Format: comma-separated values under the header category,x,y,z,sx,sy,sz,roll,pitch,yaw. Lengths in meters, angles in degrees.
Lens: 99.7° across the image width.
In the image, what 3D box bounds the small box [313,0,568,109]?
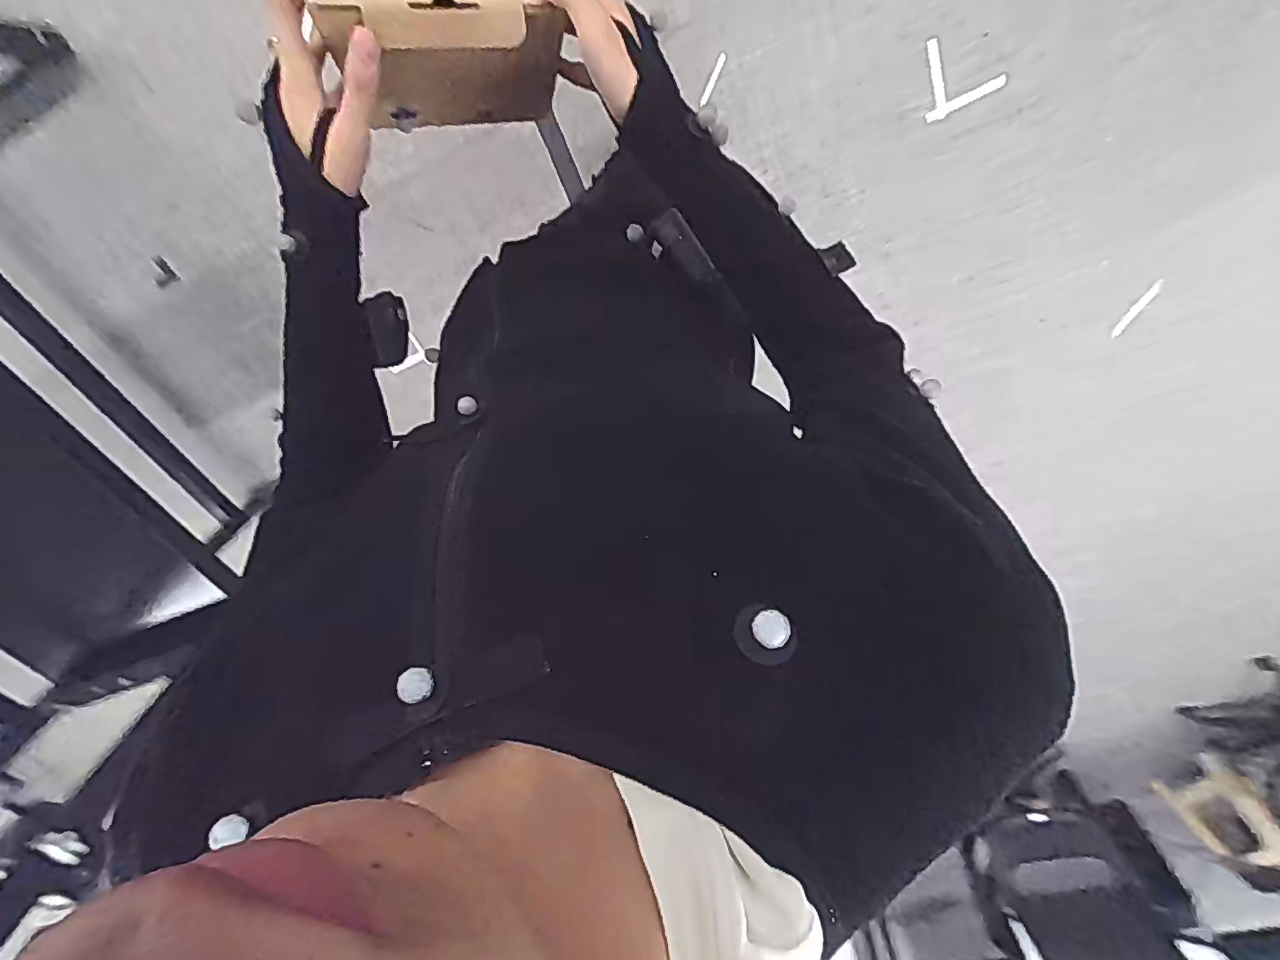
category,x,y,z,sx,sy,sz,roll,pitch,yaw
small box,-0.152,-0.405,0.403,0.168,0.176,0.179,-11,102,-13
